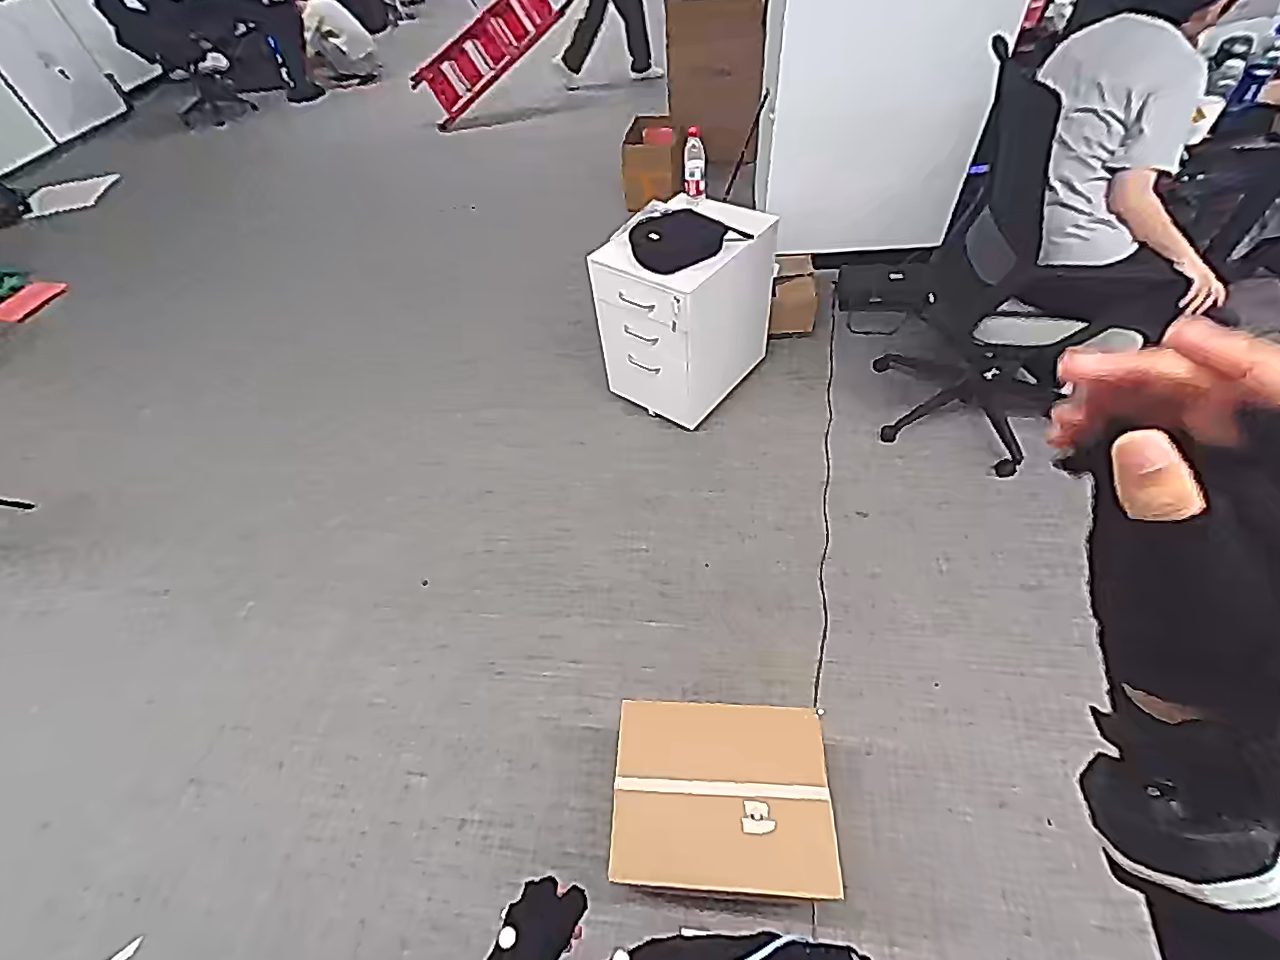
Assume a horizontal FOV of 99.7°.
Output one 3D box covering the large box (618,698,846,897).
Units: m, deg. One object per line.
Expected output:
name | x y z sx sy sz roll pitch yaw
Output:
large box | 0.177 0.676 1.150 0.408 0.320 0.320 0 52 6
